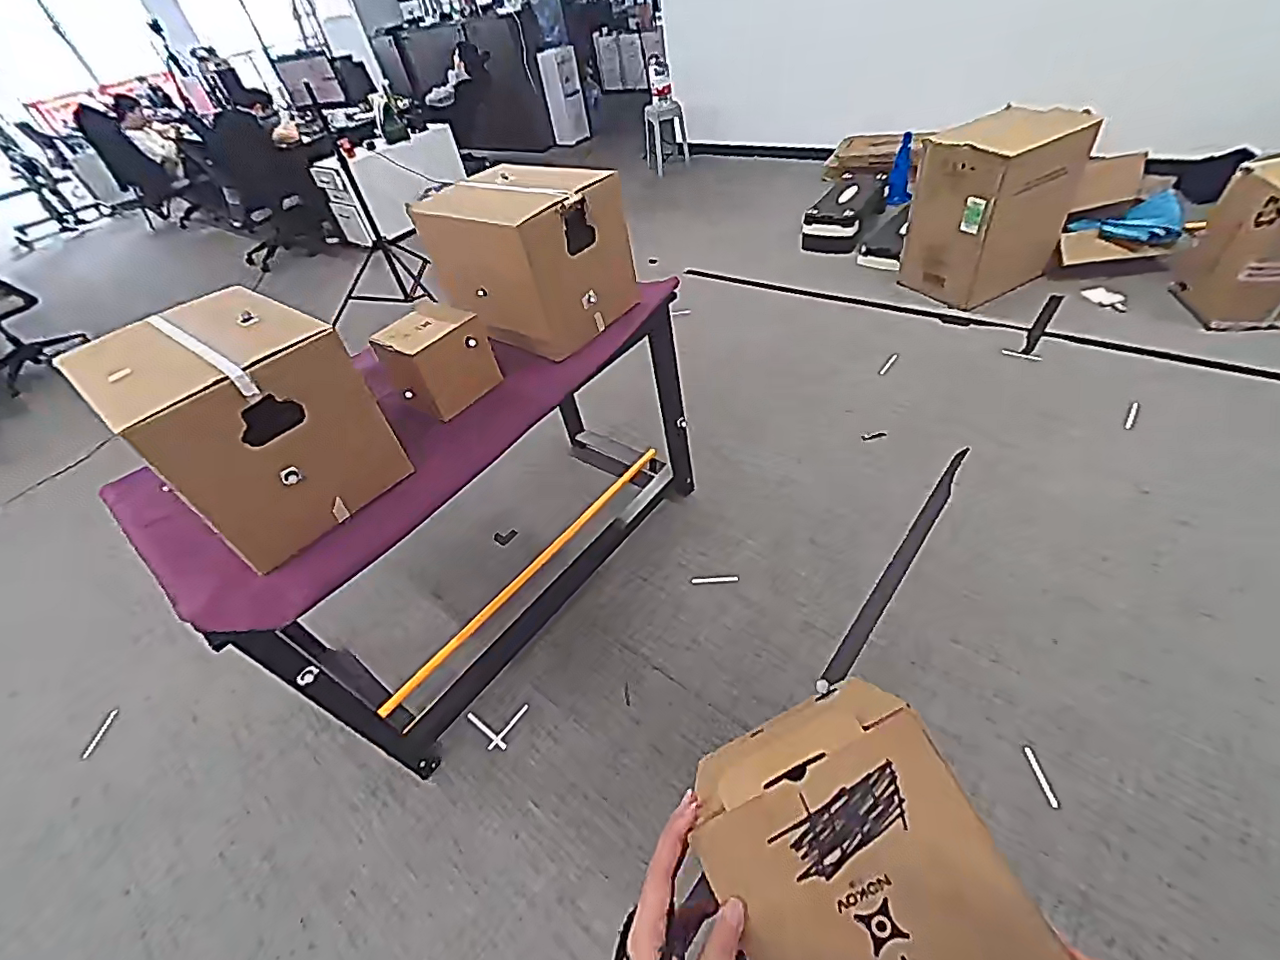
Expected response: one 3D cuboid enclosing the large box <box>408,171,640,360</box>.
[{"bbox_3d":[-0.264,-0.531,1.315,0.408,0.320,0.320,23,54,33],"label":"large box"}]
